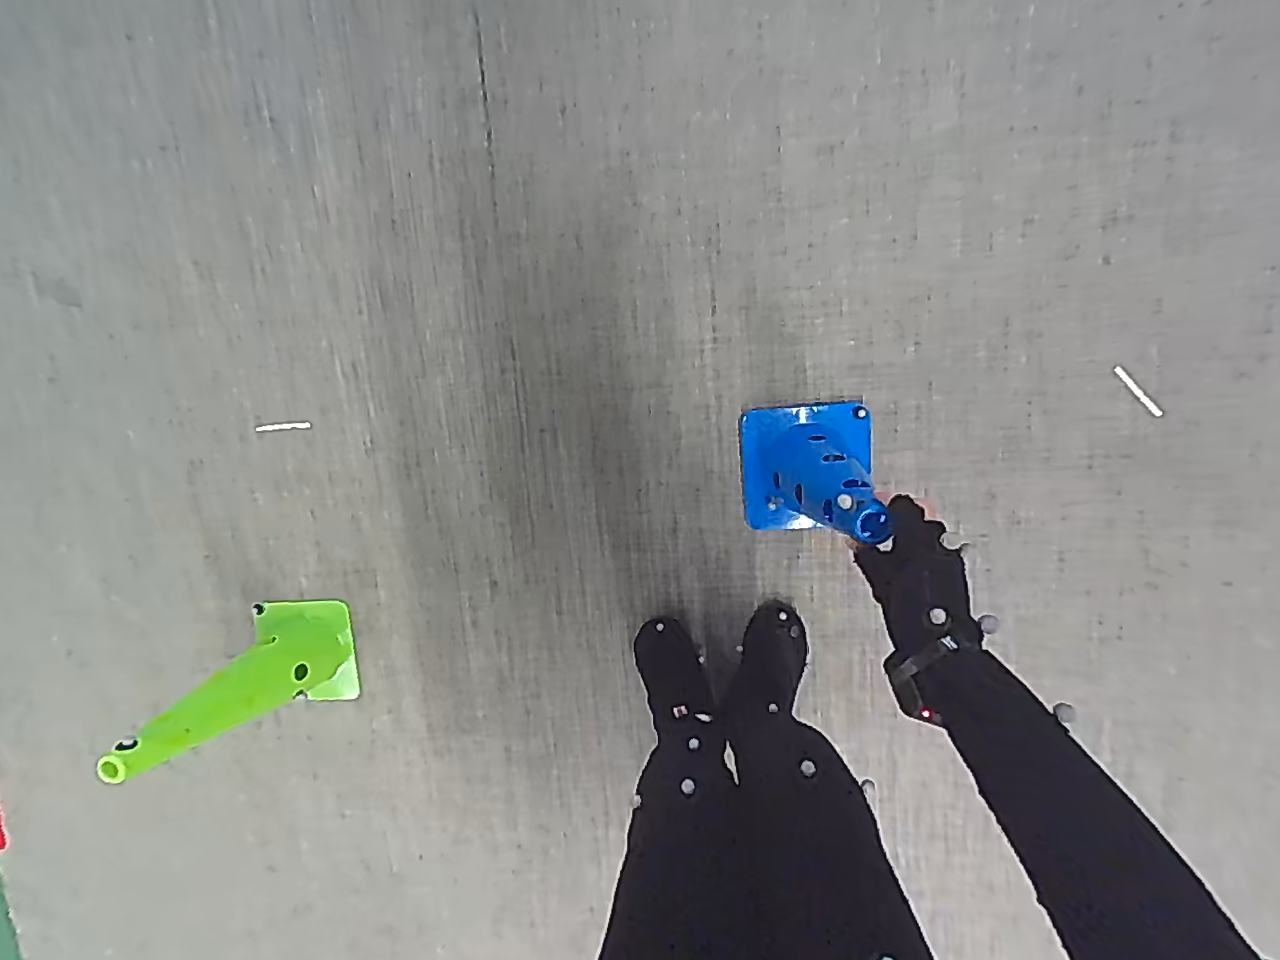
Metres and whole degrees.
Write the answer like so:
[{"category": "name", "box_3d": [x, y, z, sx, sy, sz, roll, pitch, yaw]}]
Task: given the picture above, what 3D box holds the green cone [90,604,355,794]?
[{"category": "green cone", "box_3d": [-0.665, 0.361, 0.862, 0.202, 0.368, 0.200, -4, 98, 7]}]
